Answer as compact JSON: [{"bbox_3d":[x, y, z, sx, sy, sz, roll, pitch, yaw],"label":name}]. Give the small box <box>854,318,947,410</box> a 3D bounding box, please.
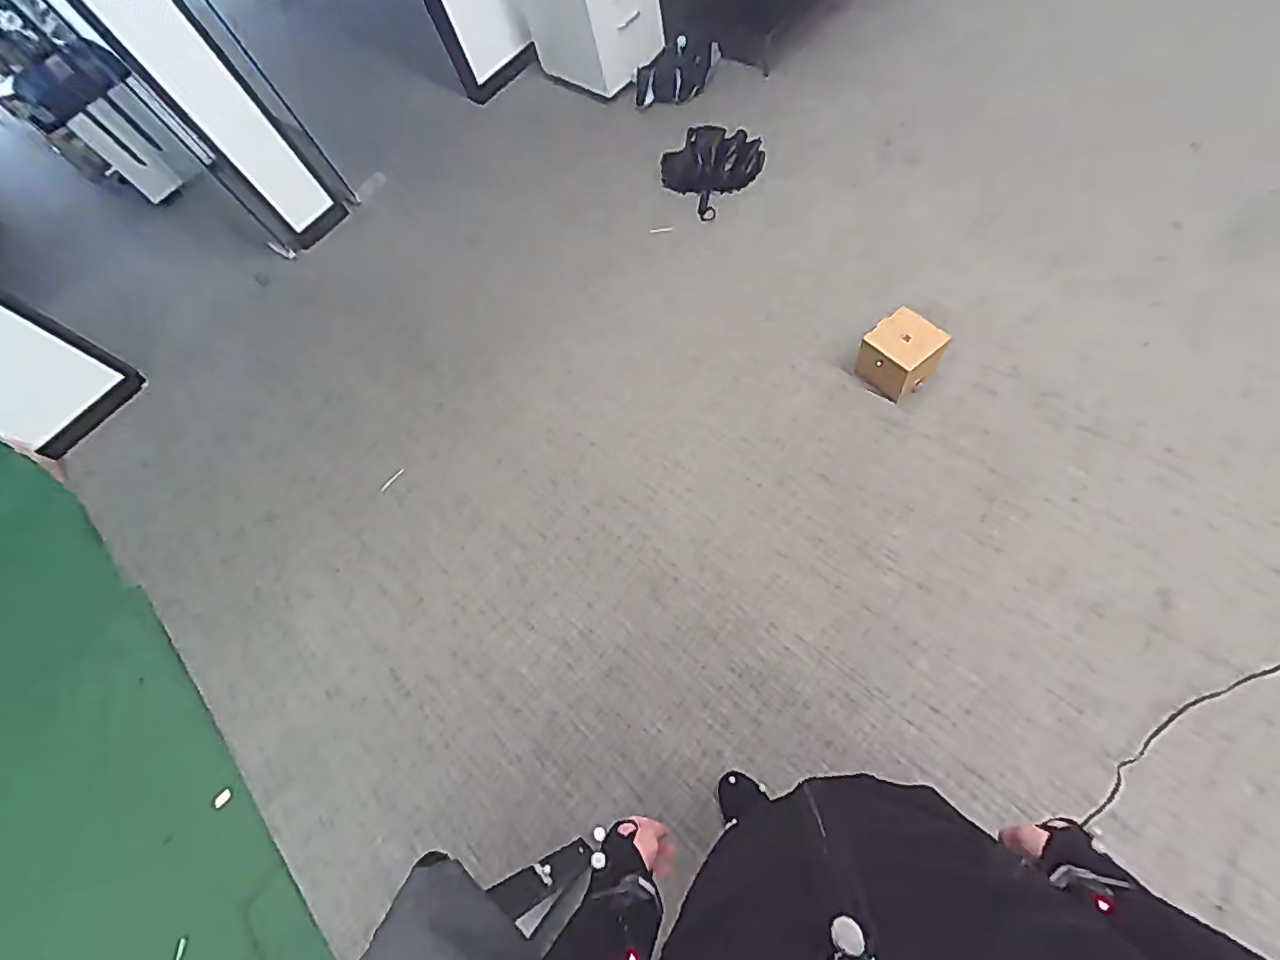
[{"bbox_3d":[0.782,-0.348,1.646,0.168,0.176,0.179,-38,64,-6],"label":"small box"}]
